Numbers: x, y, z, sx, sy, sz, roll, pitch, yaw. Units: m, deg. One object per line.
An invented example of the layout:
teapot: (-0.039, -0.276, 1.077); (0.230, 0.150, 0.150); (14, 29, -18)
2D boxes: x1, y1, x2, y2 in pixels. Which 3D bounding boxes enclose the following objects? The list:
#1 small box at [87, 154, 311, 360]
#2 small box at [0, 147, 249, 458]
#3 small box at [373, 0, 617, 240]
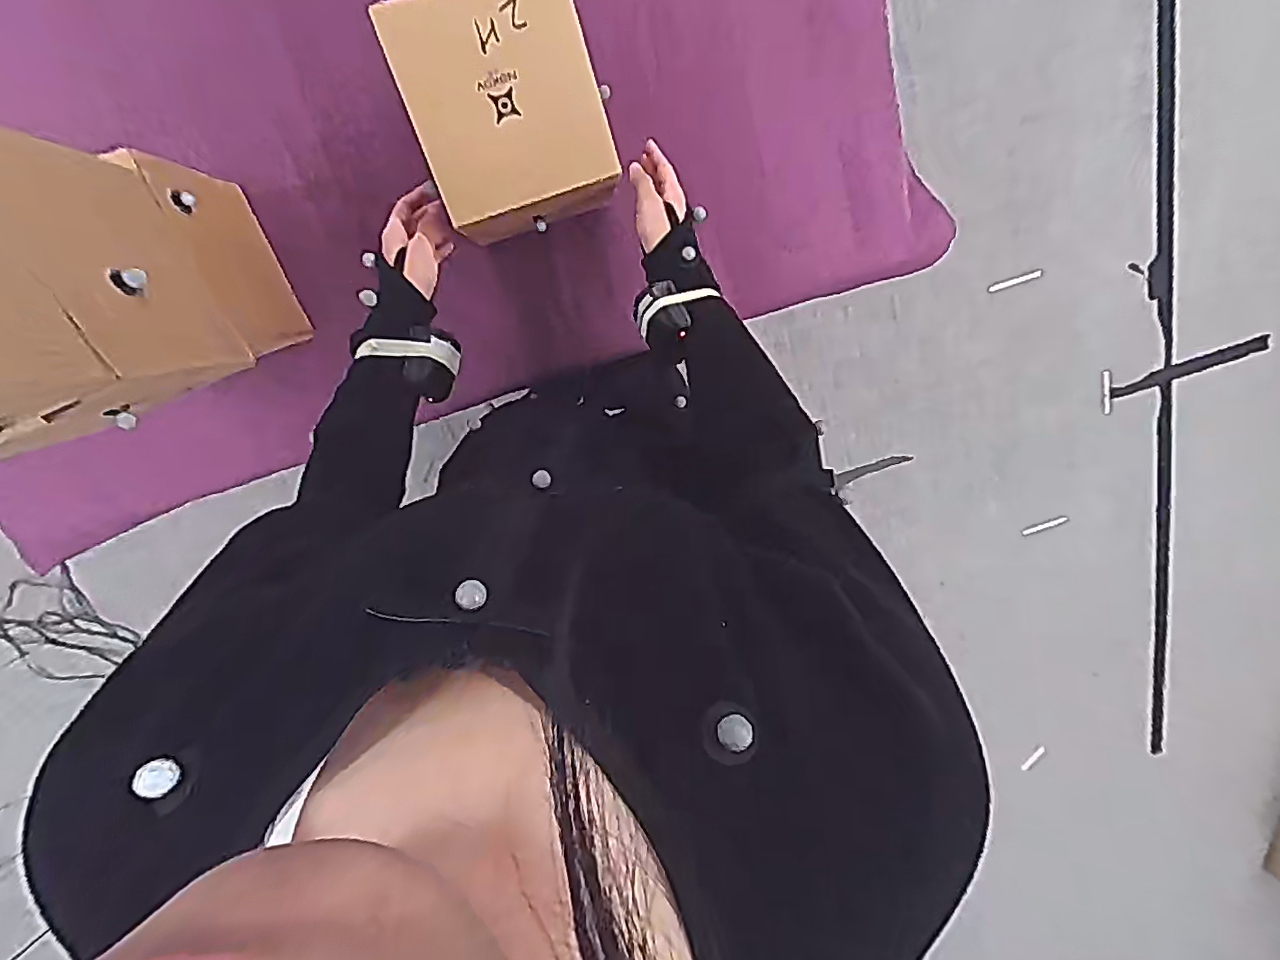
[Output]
small box: (-0.487, -0.199, 0.558); (0.168, 0.176, 0.179); (-19, 109, -1)
small box: (-0.456, -0.131, 0.411); (0.168, 0.176, 0.179); (-24, 110, 0)
small box: (-0.129, -0.358, 0.550); (0.168, 0.176, 0.179); (-19, 109, -1)
